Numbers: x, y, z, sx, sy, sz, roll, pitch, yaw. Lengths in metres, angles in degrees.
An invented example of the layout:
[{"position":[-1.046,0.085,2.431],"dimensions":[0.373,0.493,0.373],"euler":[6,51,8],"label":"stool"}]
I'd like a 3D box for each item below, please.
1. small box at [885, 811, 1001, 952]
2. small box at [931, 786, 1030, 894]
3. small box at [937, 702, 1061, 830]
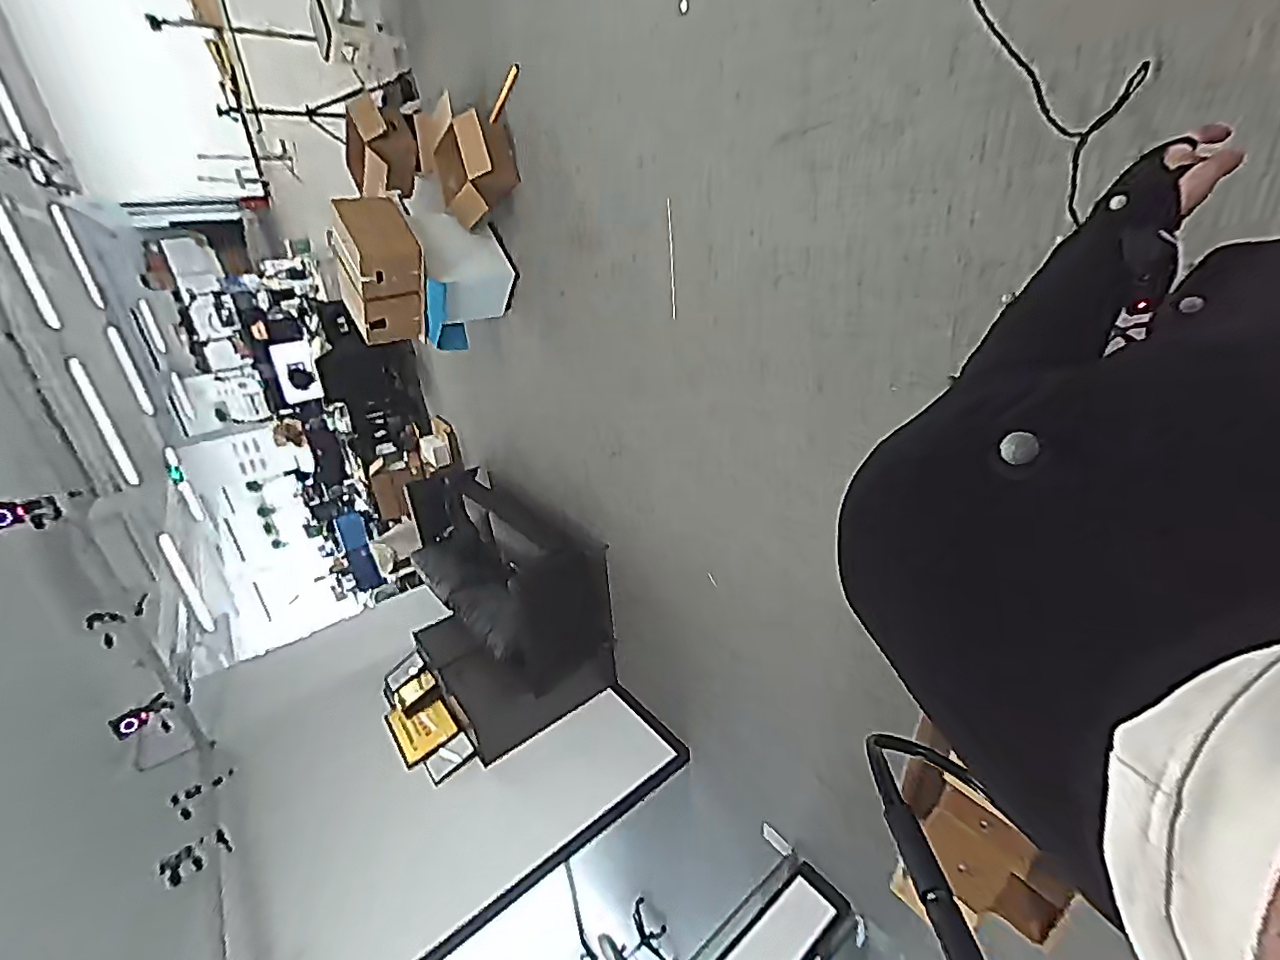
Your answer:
[{"position":[0.728,0.952,1.297],"dimensions":[0.179,0.176,0.168],"euler":[29,129,42],"label":"small box"},{"position":[0.856,0.900,1.386],"dimensions":[0.179,0.176,0.168],"euler":[32,131,43],"label":"small box"},{"position":[0.837,0.654,1.266],"dimensions":[0.179,0.176,0.168],"euler":[26,129,45],"label":"small box"}]
